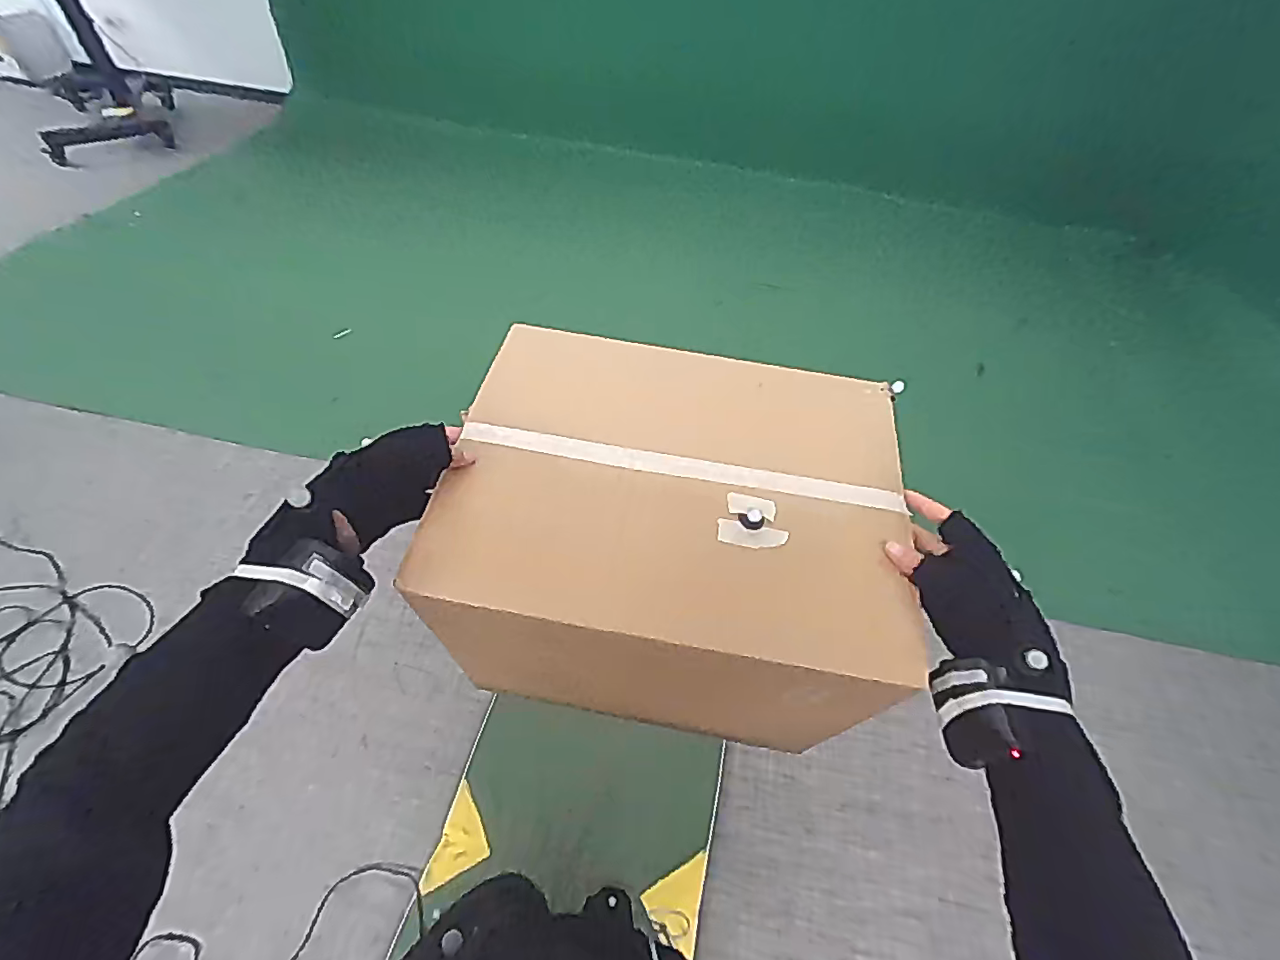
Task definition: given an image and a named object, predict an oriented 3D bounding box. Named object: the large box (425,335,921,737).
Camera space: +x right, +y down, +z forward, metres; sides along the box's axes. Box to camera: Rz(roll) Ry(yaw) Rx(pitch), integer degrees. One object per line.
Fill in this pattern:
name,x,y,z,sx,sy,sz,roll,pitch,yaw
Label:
large box,0.033,0.077,0.627,0.408,0.320,0.320,10,56,2
